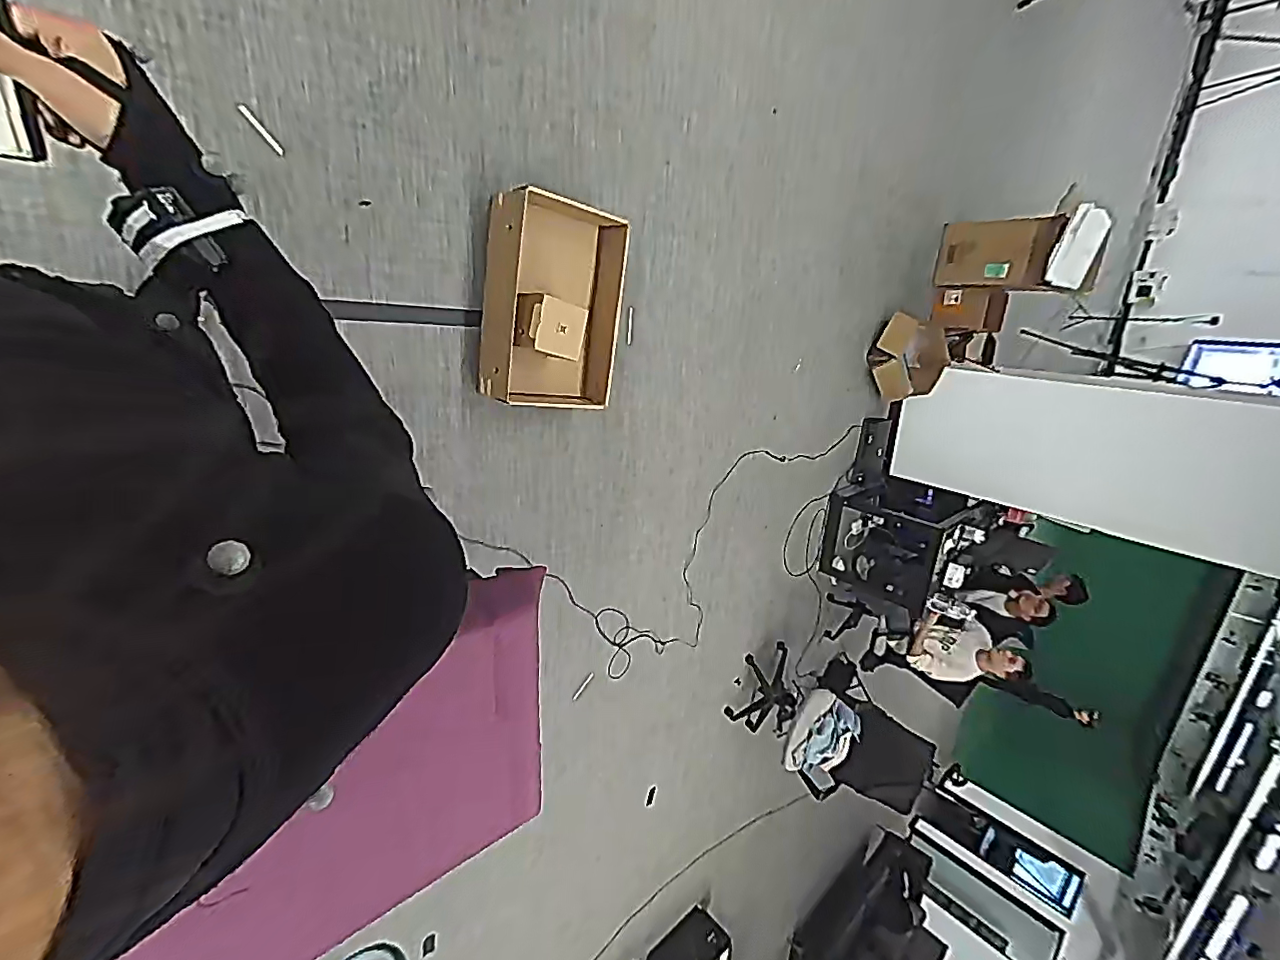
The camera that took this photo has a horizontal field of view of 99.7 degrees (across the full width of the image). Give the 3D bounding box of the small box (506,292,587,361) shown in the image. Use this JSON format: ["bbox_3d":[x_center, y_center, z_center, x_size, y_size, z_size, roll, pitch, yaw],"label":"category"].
[{"bbox_3d":[-0.299,-0.485,1.711,0.179,0.176,0.168,6,101,-45],"label":"small box"}]
